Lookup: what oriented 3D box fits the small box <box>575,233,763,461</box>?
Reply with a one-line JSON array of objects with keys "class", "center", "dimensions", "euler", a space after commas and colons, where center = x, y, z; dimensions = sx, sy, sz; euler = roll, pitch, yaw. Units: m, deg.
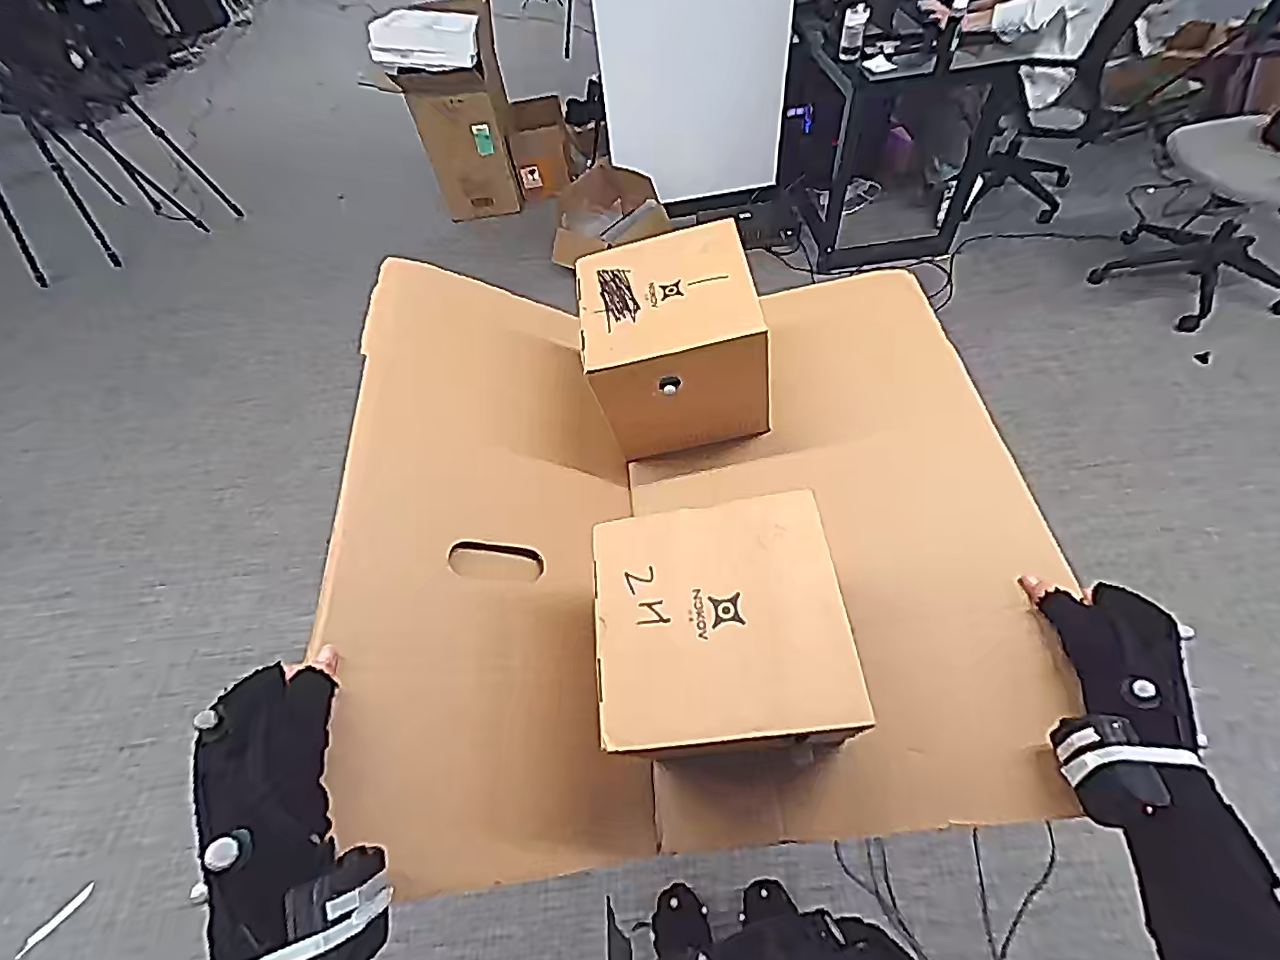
[{"class": "small box", "center": [0.037, -0.140, 0.617], "dimensions": [0.179, 0.176, 0.168], "euler": [-12, 60, 7]}]

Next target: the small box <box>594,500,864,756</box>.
[{"class": "small box", "center": [0.069, 0.136, 0.458], "dimensions": [0.179, 0.176, 0.168], "euler": [-10, 60, 10]}]
